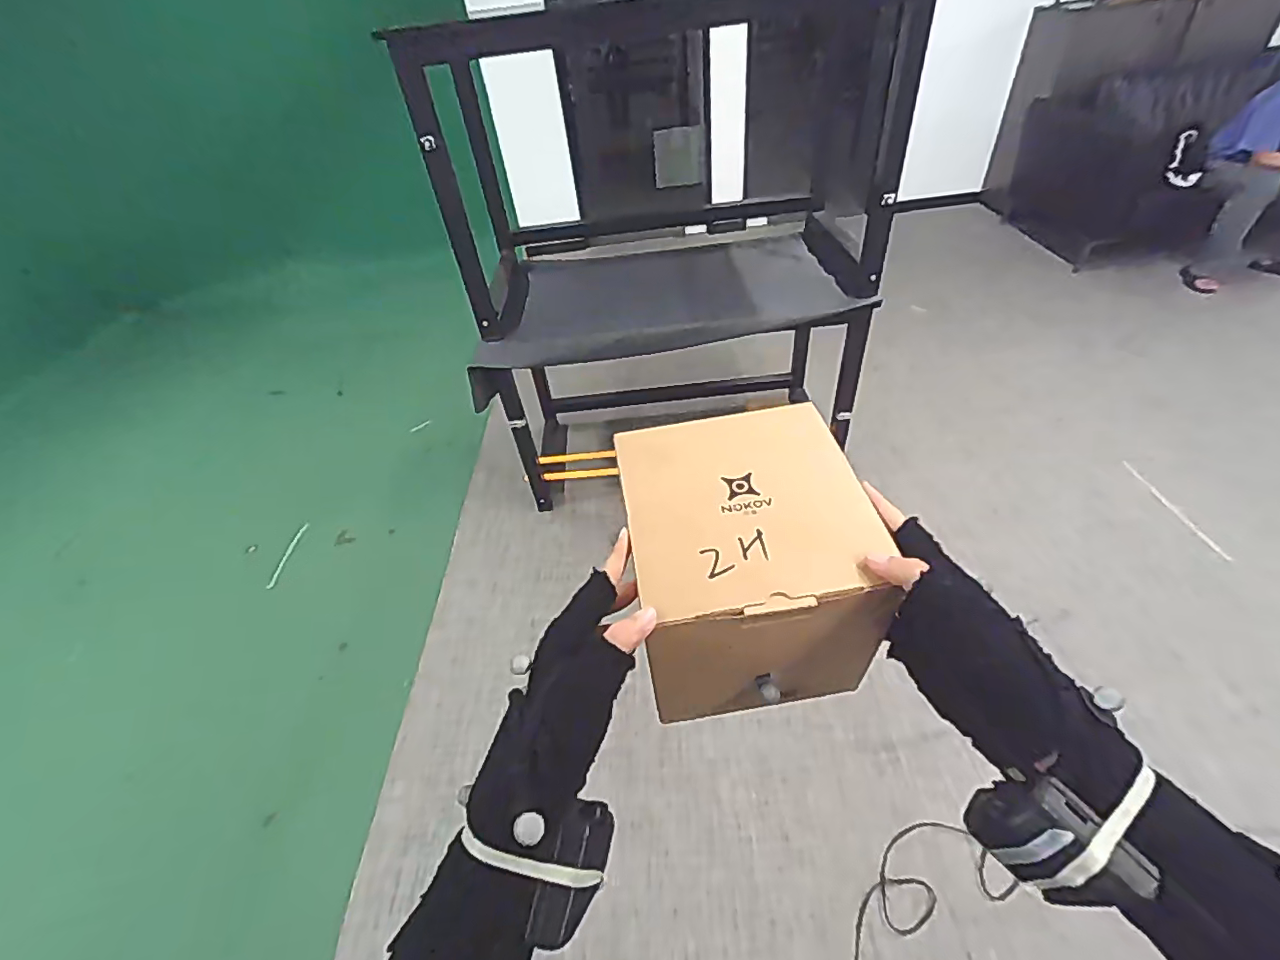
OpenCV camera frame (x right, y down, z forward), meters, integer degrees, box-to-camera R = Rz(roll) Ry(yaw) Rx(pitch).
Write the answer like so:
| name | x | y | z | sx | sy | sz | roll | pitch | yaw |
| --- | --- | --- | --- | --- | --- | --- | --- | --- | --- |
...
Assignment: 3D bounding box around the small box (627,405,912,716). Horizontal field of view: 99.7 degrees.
| name | x | y | z | sx | sy | sz | roll | pitch | yaw |
| --- | --- | --- | --- | --- | --- | --- | --- | --- | --- |
| small box | 0.084 | 0.066 | 0.444 | 0.168 | 0.176 | 0.179 | -9 | 46 | -1 |
